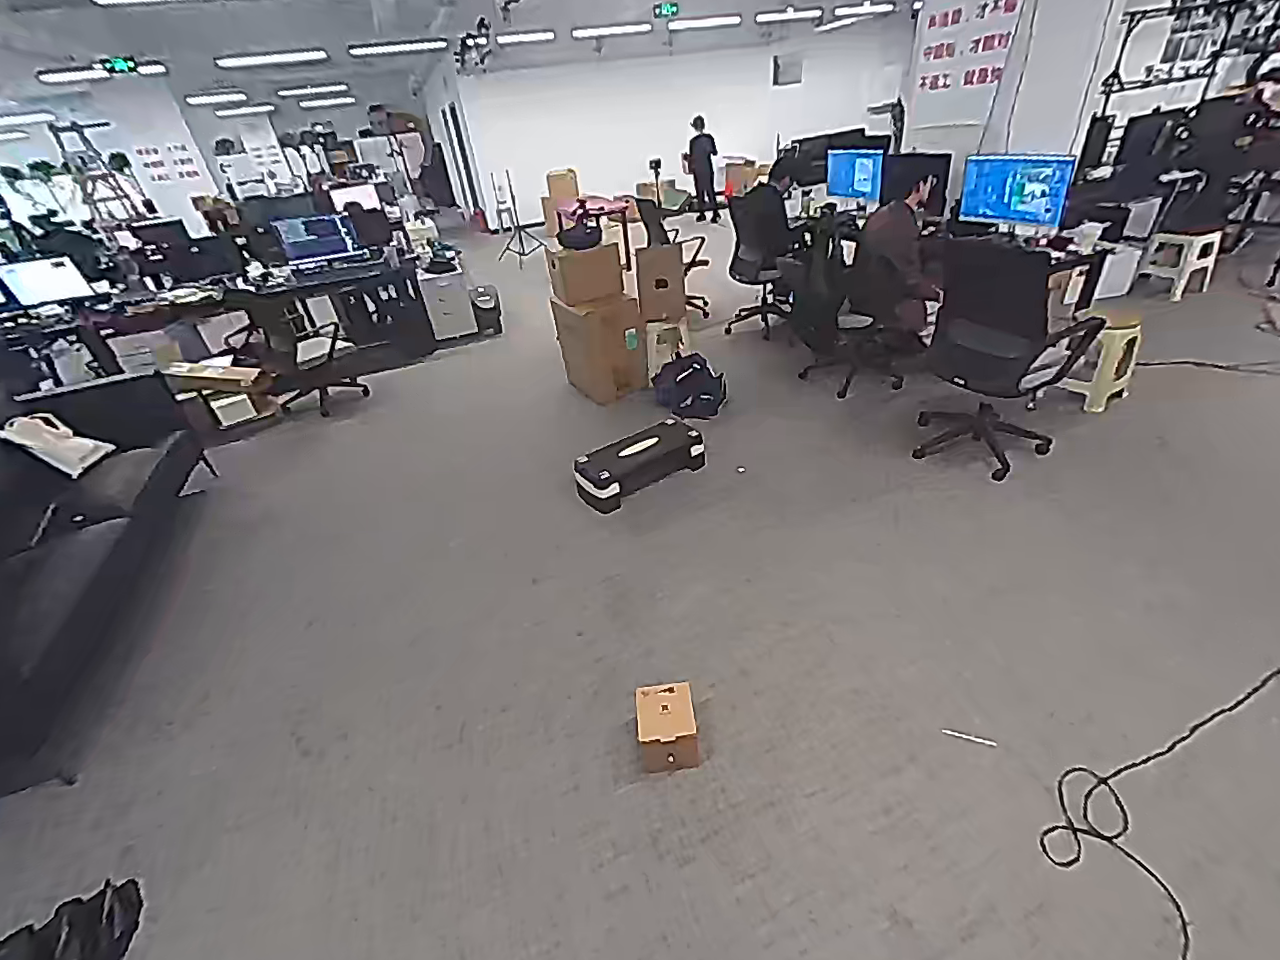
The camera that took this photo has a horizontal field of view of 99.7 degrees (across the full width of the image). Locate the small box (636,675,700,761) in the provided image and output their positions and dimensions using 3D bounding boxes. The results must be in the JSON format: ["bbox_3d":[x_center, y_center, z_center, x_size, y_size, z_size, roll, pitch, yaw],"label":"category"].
[{"bbox_3d":[0.083,0.718,1.618,0.168,0.176,0.179,-8,35,1],"label":"small box"}]
